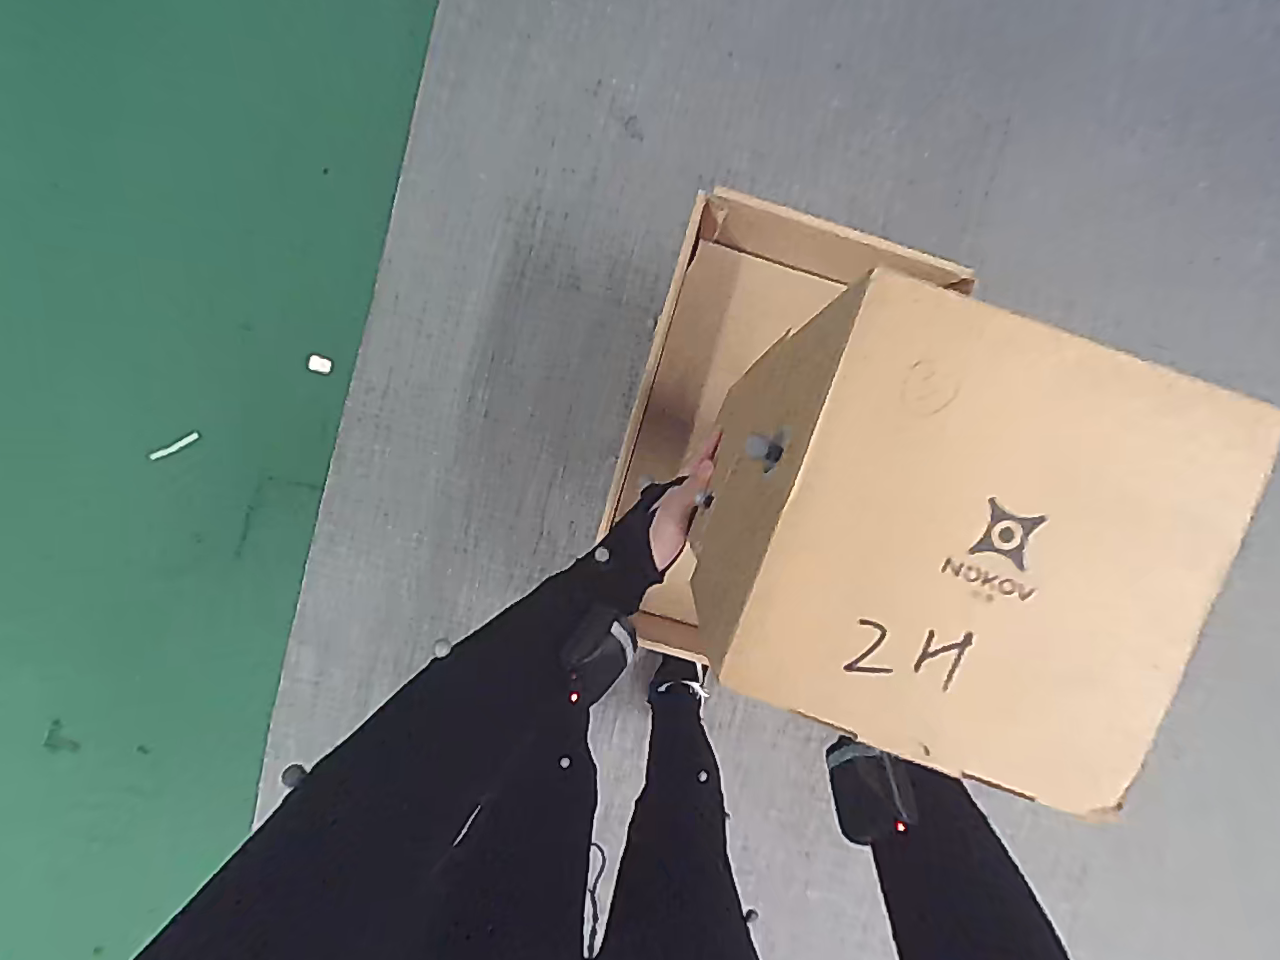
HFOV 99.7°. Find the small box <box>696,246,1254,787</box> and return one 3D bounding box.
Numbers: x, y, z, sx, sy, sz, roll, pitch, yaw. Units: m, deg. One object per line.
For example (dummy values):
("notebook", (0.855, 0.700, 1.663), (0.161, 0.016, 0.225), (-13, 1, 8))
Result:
("small box", (0.133, 0.012, 0.292), (0.168, 0.176, 0.179), (19, 94, 2))

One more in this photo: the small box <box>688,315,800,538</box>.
("small box", (0.145, -0.010, 0.456), (0.168, 0.176, 0.179), (21, 94, 1))
